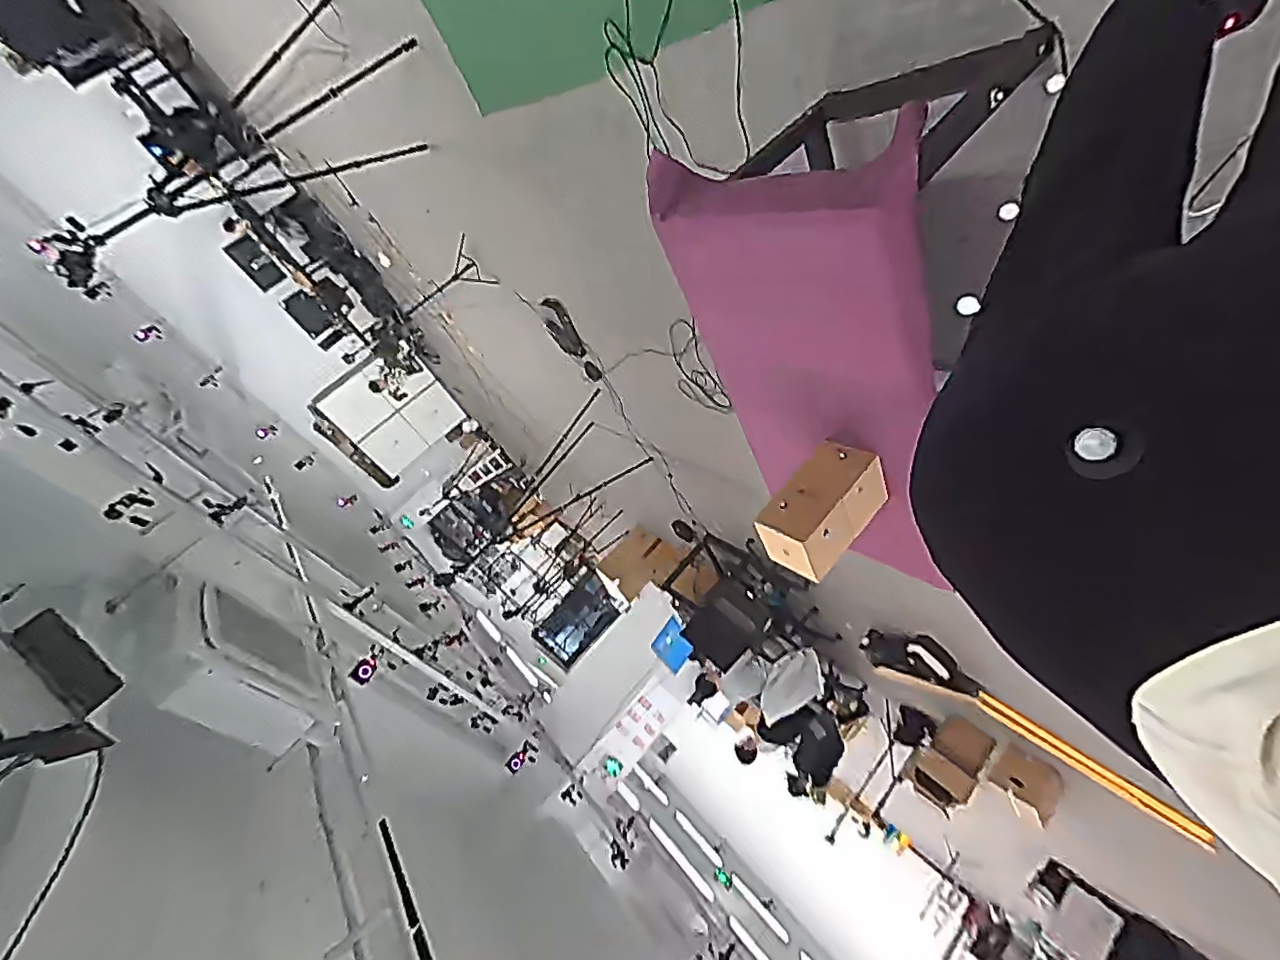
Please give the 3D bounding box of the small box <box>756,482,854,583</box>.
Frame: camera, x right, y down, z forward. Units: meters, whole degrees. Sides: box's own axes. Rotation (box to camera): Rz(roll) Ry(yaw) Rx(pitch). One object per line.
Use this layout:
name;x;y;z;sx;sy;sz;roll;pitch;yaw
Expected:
small box;0.443;0.134;1.439;0.168;0.176;0.179;27;156;48
